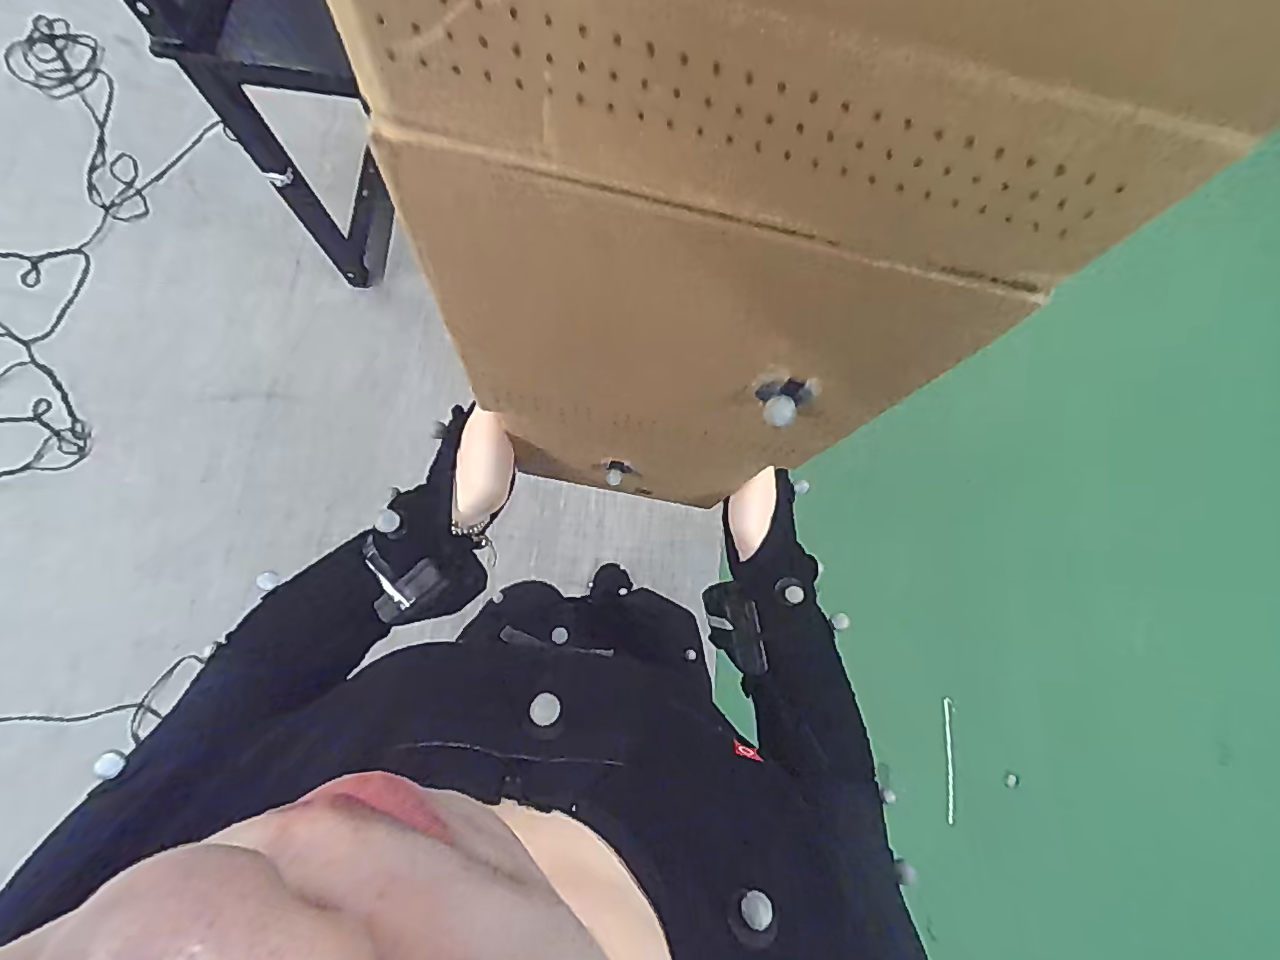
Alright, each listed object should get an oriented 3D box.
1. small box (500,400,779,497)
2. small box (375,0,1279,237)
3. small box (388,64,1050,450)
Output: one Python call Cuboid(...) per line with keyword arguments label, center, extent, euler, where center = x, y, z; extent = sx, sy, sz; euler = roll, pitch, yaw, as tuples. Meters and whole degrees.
Cuboid(label="small box", center=(0.006, -0.096, 0.394), extent=(0.168, 0.176, 0.179), euler=(12, 74, -6))
Cuboid(label="small box", center=(0.047, -0.169, 0.080), extent=(0.179, 0.176, 0.168), euler=(12, 73, -5))
Cuboid(label="small box", center=(0.026, -0.122, 0.234), extent=(0.179, 0.176, 0.168), euler=(10, 73, -4))
